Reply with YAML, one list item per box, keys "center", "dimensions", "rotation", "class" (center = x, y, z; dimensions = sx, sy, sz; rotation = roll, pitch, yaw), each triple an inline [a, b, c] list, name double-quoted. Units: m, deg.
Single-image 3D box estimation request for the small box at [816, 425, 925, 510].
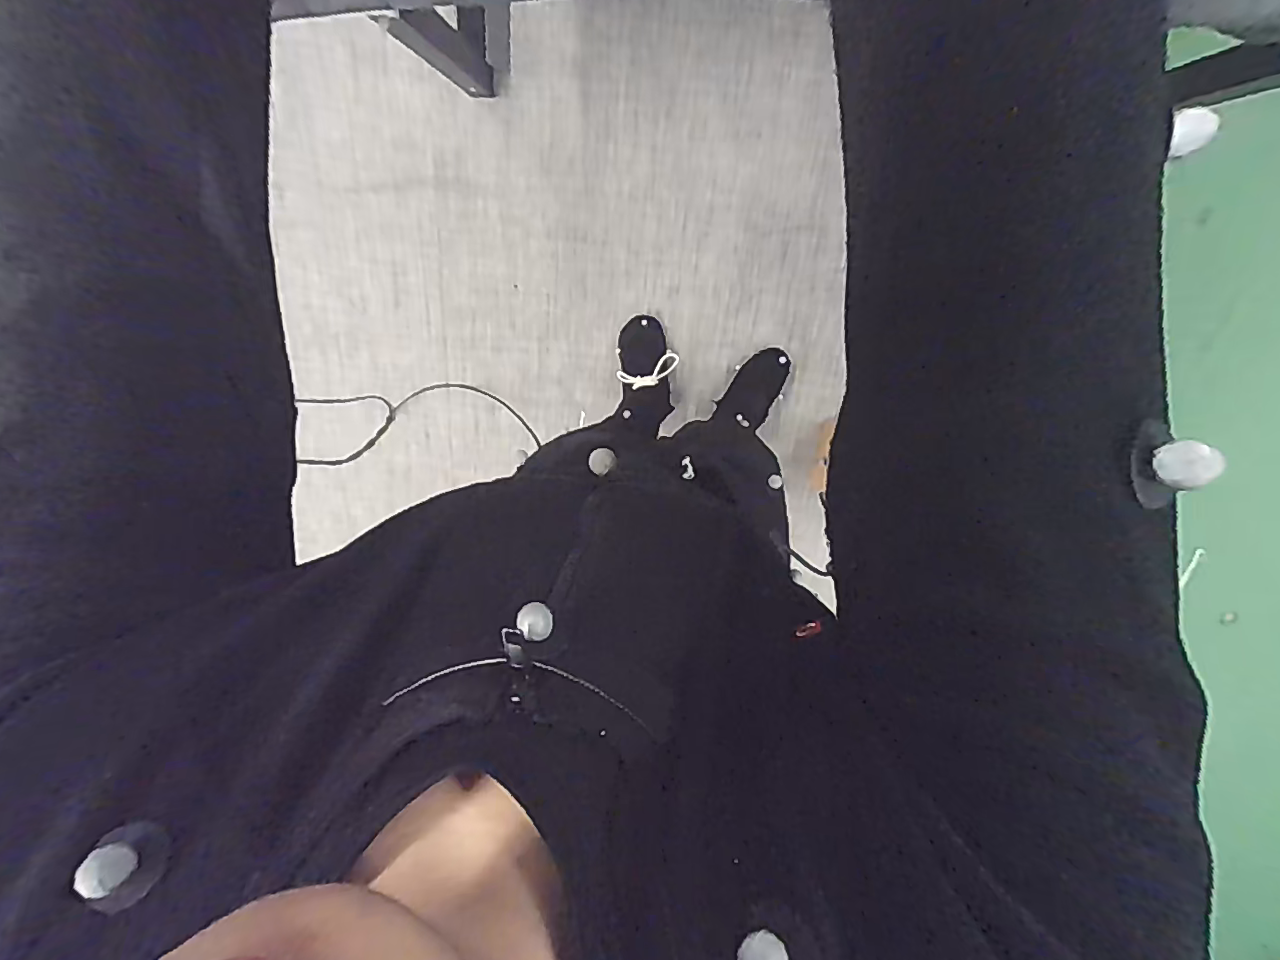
- center: [0.532, -0.026, 1.279]
  dimensions: [0.179, 0.176, 0.168]
  rotation: [6, 113, 1]
  class: "small box"
